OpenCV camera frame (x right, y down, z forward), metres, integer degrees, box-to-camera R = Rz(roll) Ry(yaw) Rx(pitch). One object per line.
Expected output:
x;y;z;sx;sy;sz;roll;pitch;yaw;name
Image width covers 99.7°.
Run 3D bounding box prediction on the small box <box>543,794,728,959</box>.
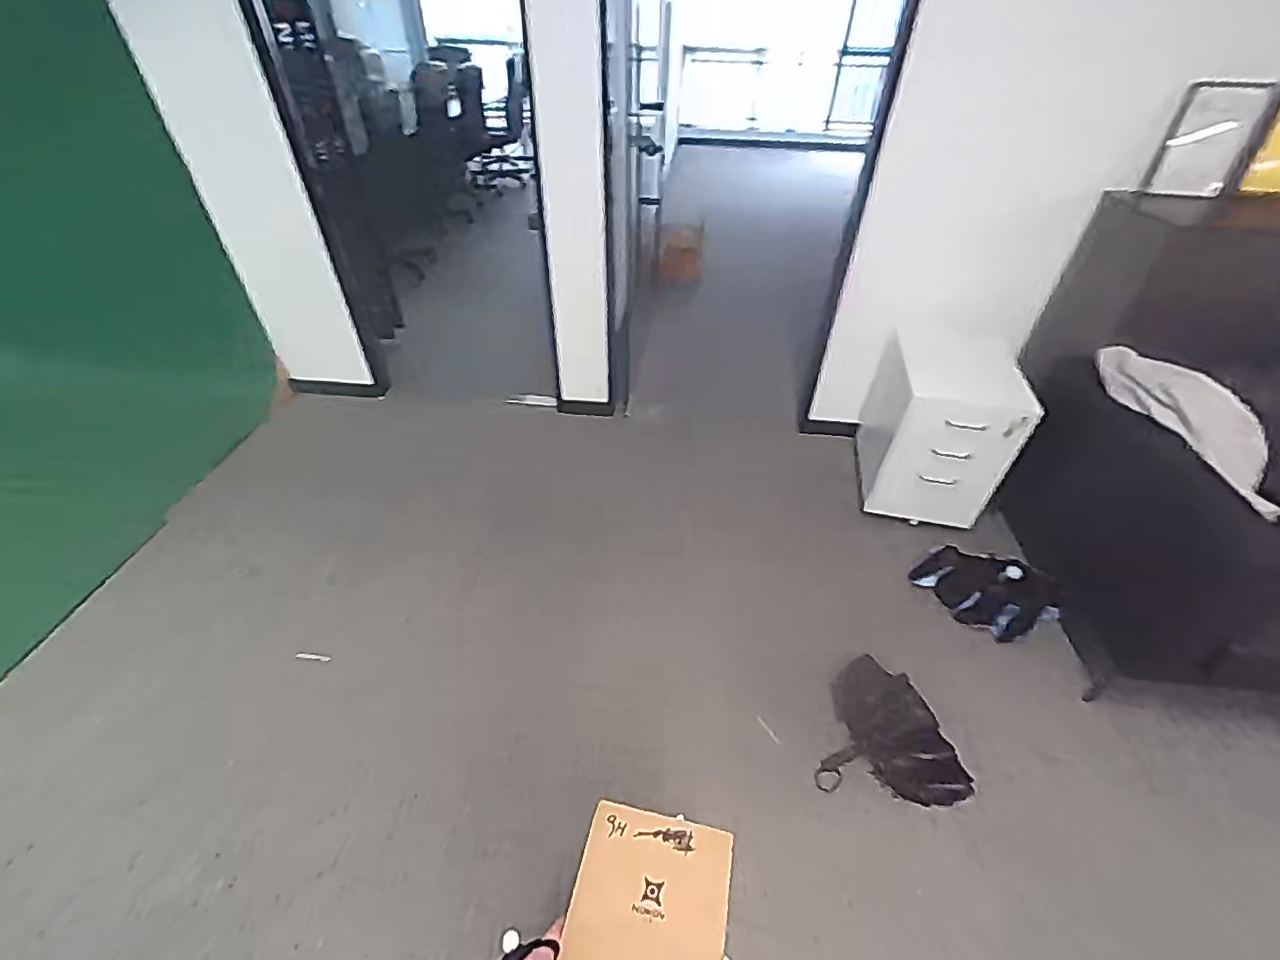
0.001;0.499;0.608;0.168;0.176;0.179;9;36;10;small box
